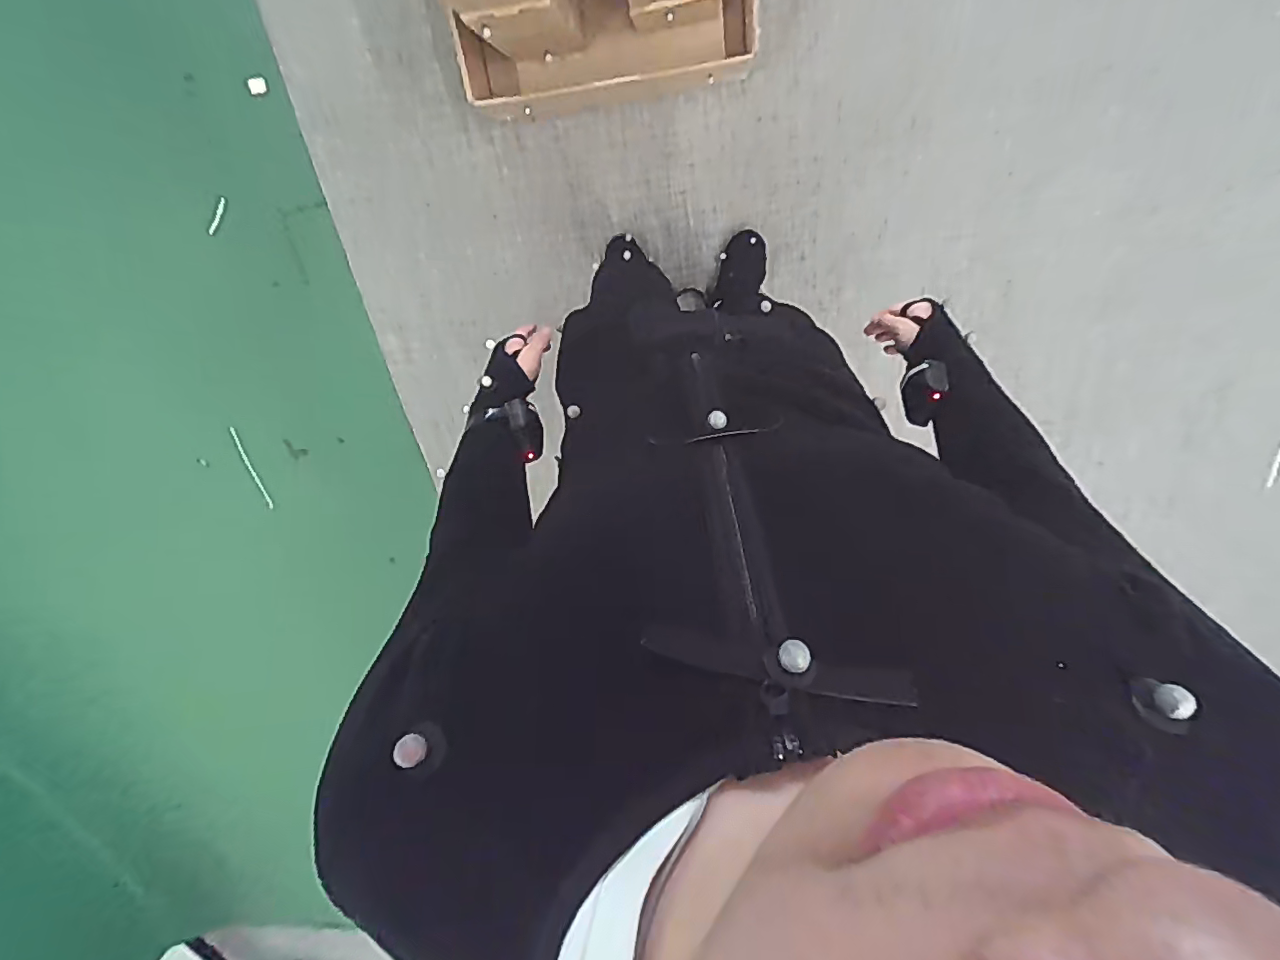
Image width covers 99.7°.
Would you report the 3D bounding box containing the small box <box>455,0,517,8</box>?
[{"bbox_3d":[-0.240,-0.847,0.811,0.179,0.176,0.168,-3,117,8],"label":"small box"}]
